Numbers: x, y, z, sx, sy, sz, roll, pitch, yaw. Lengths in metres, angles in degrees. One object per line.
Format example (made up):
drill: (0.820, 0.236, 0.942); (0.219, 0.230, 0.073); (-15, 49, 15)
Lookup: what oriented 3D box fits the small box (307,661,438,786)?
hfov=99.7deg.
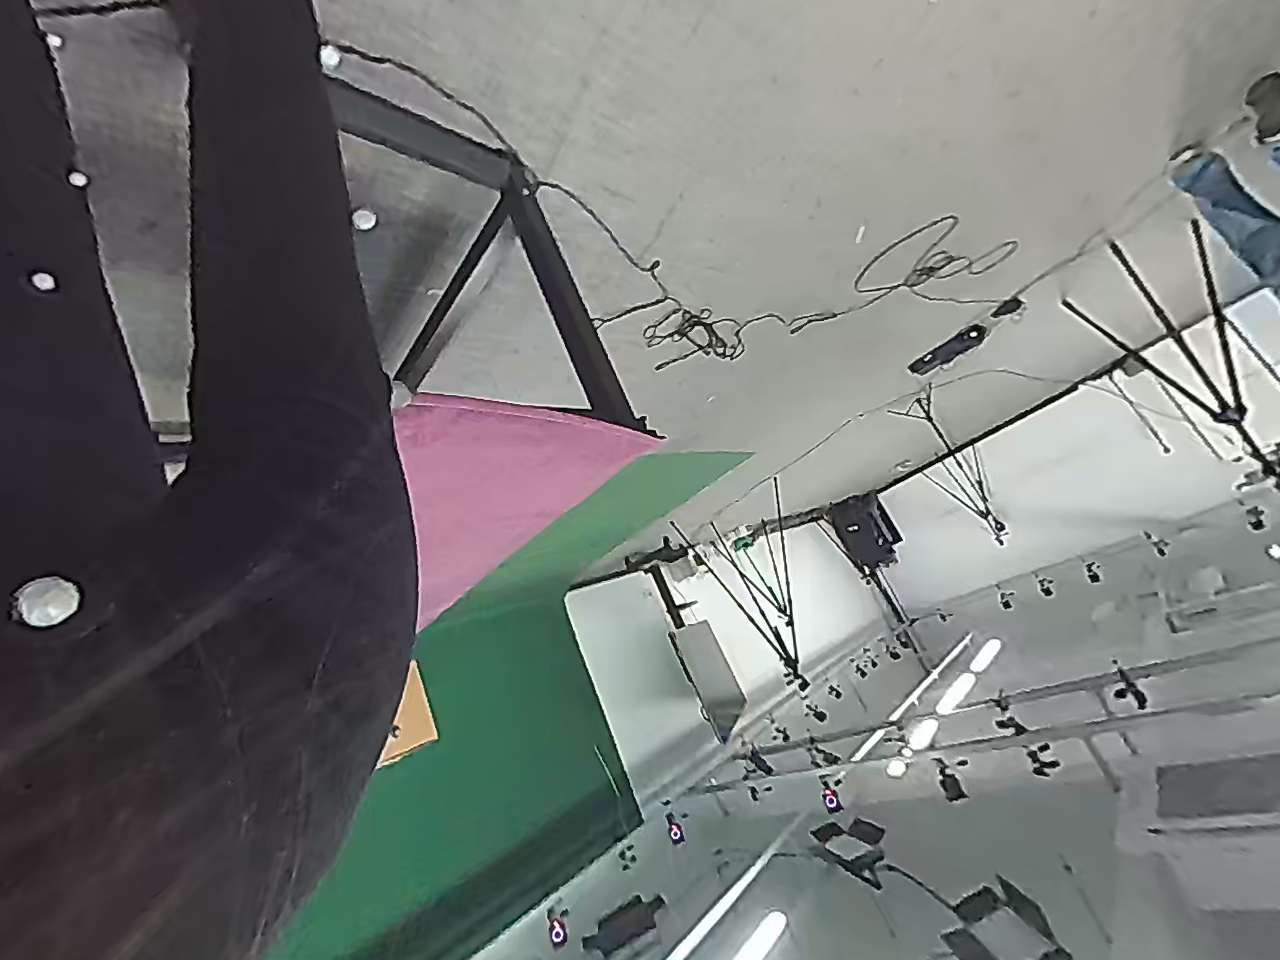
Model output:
small box: (-0.548, 0.489, 1.104); (0.179, 0.176, 0.168); (-5, 154, -48)
